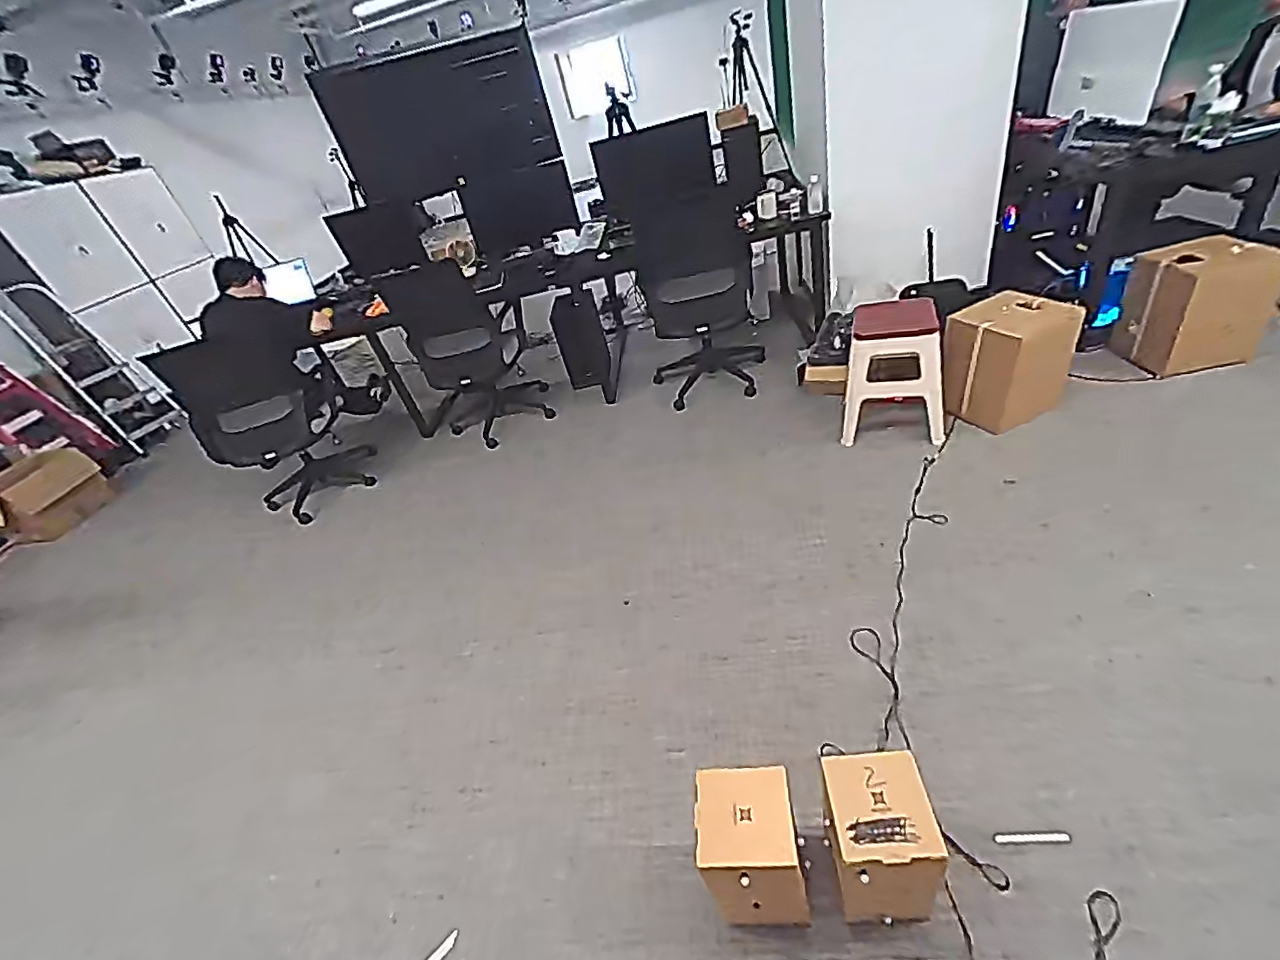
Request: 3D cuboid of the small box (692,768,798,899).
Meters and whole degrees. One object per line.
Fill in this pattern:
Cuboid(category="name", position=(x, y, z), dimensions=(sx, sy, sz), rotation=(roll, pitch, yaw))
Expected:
Cuboid(category="small box", position=(0.200, 0.674, 1.031), dimensions=(0.179, 0.176, 0.168), rotation=(-10, 36, 12))

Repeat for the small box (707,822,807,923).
Cuboid(category="small box", position=(0.239, 0.799, 1.126), dimensions=(0.179, 0.176, 0.168), rotation=(-10, 37, 11))

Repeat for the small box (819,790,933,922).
Cuboid(category="small box", position=(0.464, 0.757, 1.090), dimensions=(0.168, 0.176, 0.179), rotation=(-10, 37, 9))
